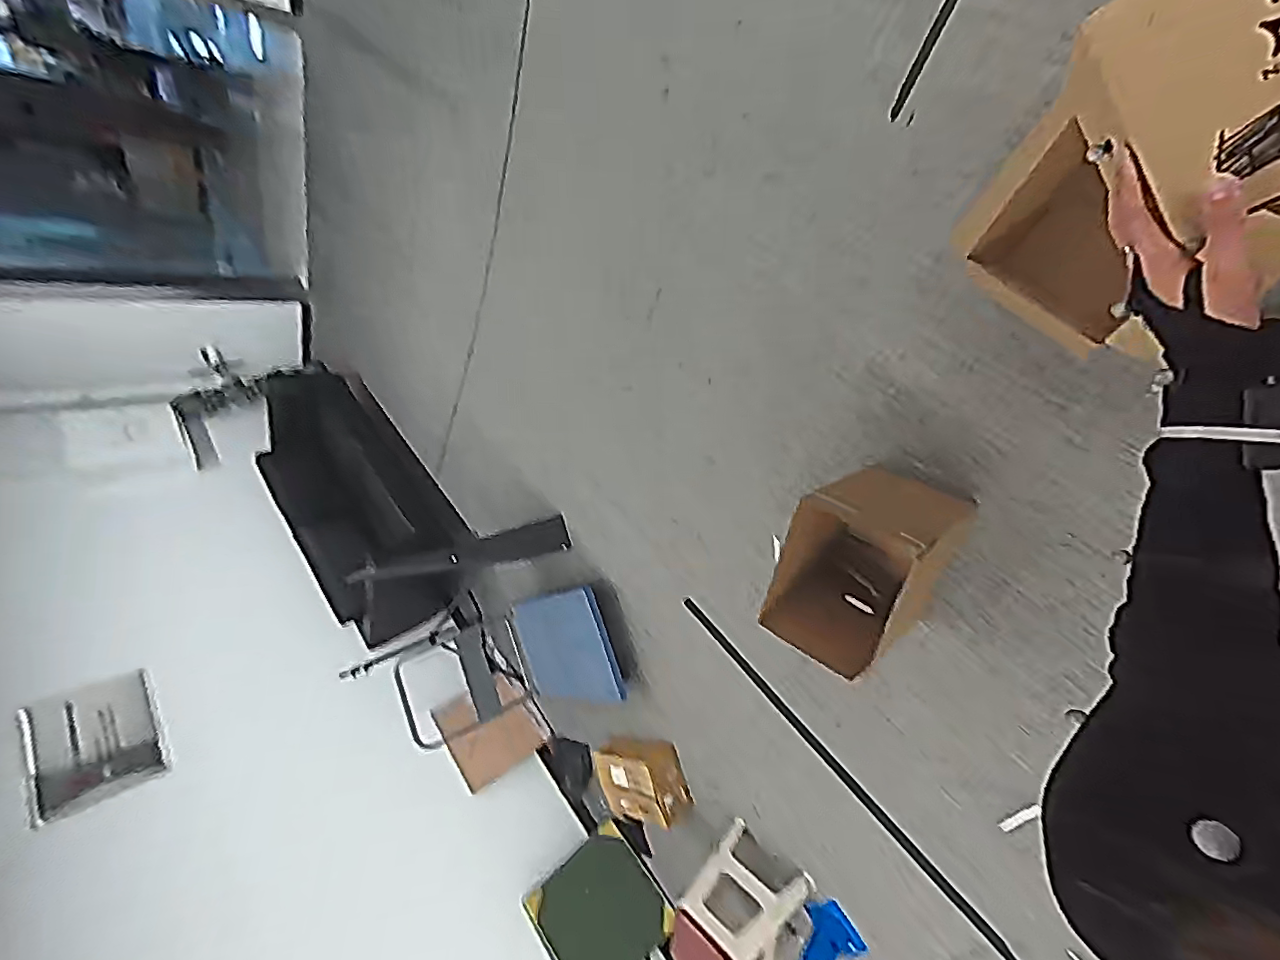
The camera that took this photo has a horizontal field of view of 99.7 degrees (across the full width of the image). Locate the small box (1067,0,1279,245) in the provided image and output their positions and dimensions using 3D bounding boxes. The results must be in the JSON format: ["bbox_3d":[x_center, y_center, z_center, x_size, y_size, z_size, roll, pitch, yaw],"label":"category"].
[{"bbox_3d":[0.441,-0.294,0.390,0.168,0.176,0.179,-24,92,39],"label":"small box"}]
